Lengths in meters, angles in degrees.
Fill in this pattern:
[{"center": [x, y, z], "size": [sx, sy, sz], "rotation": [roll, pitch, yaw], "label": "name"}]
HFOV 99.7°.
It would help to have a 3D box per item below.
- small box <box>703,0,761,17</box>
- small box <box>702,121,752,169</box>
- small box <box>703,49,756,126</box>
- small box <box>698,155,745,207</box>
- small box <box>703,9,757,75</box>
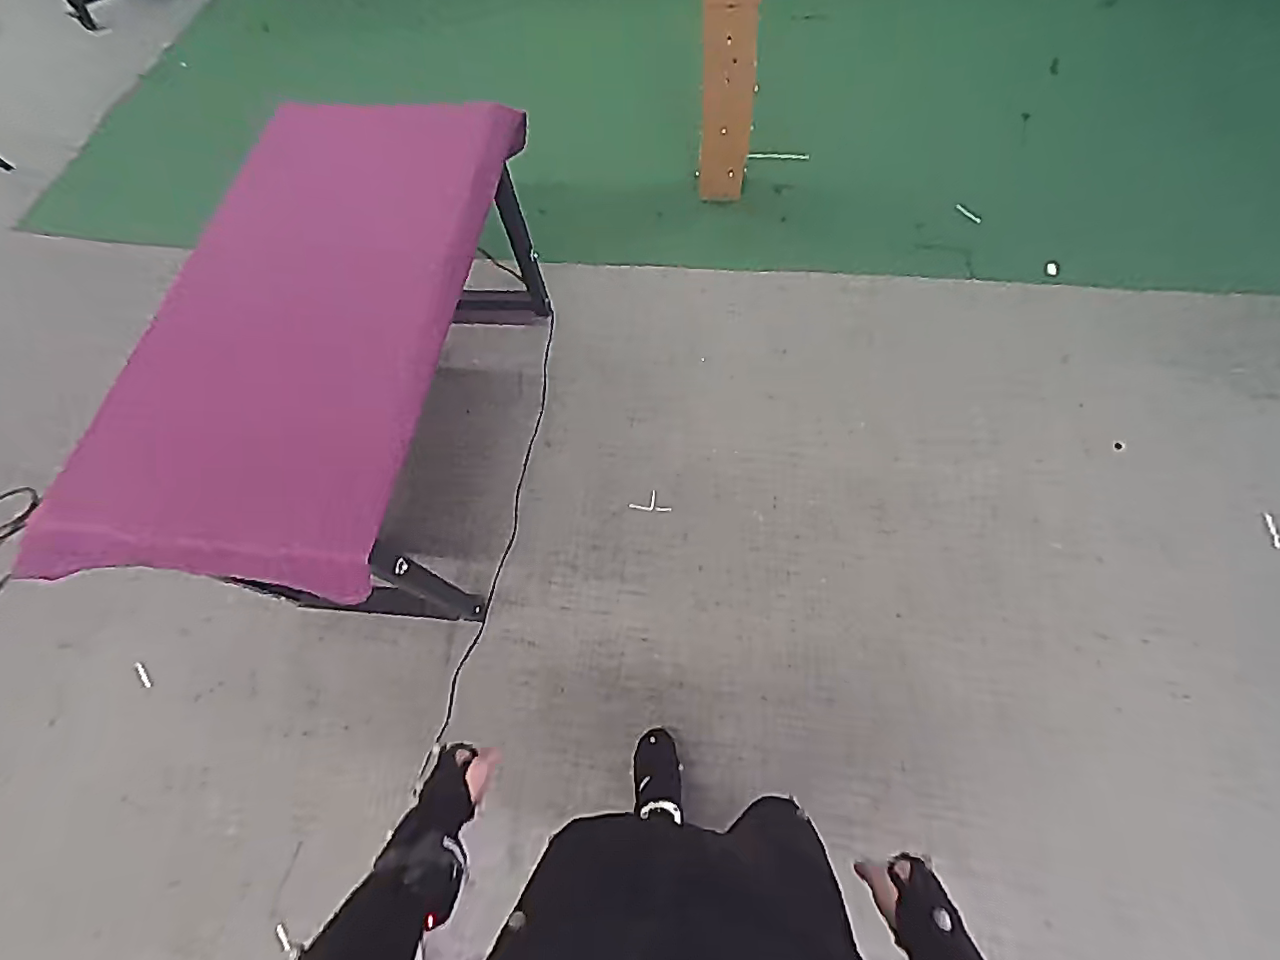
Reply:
[{"center": [0.279, -1.513, 1.598], "size": [0.179, 0.176, 0.168], "rotation": [3, 64, 7], "label": "small box"}, {"center": [0.325, -1.300, 2.038], "size": [0.179, 0.176, 0.168], "rotation": [2, 65, 7], "label": "small box"}, {"center": [0.310, -1.371, 1.891], "size": [0.179, 0.176, 0.168], "rotation": [1, 66, 5], "label": "small box"}, {"center": [0.331, -1.230, 2.183], "size": [0.179, 0.176, 0.168], "rotation": [5, 65, 7], "label": "small box"}, {"center": [0.289, -1.441, 1.745], "size": [0.168, 0.176, 0.179], "rotation": [3, 66, 6], "label": "small box"}]
